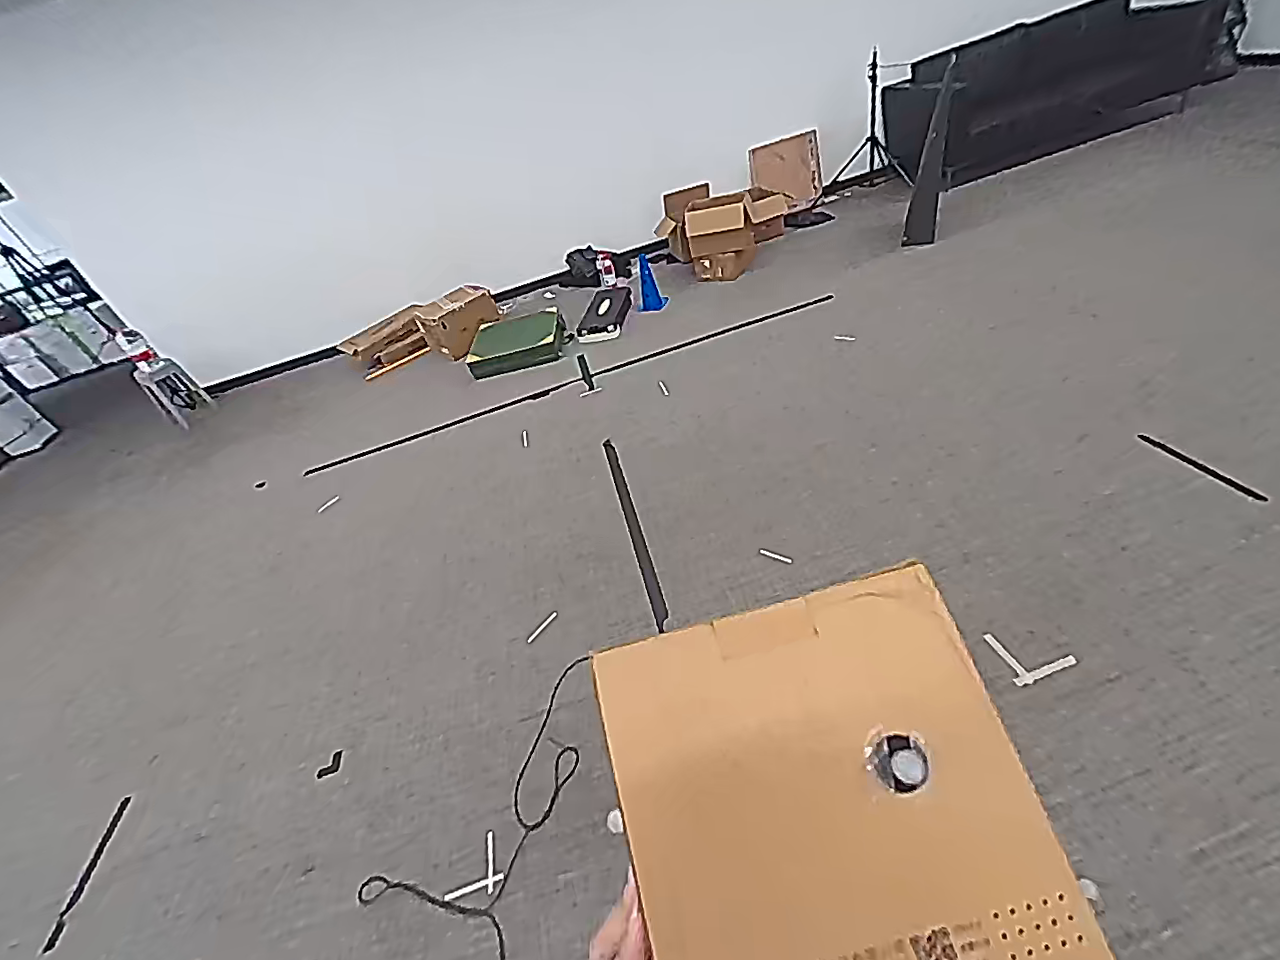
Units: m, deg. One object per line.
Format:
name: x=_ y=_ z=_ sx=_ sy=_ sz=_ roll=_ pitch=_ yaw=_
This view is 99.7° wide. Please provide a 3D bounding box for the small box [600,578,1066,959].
small box: x=0.088 y=0.174 z=0.317 sx=0.168 sy=0.179 sz=0.176 roll=-16 pitch=68 yaw=1
